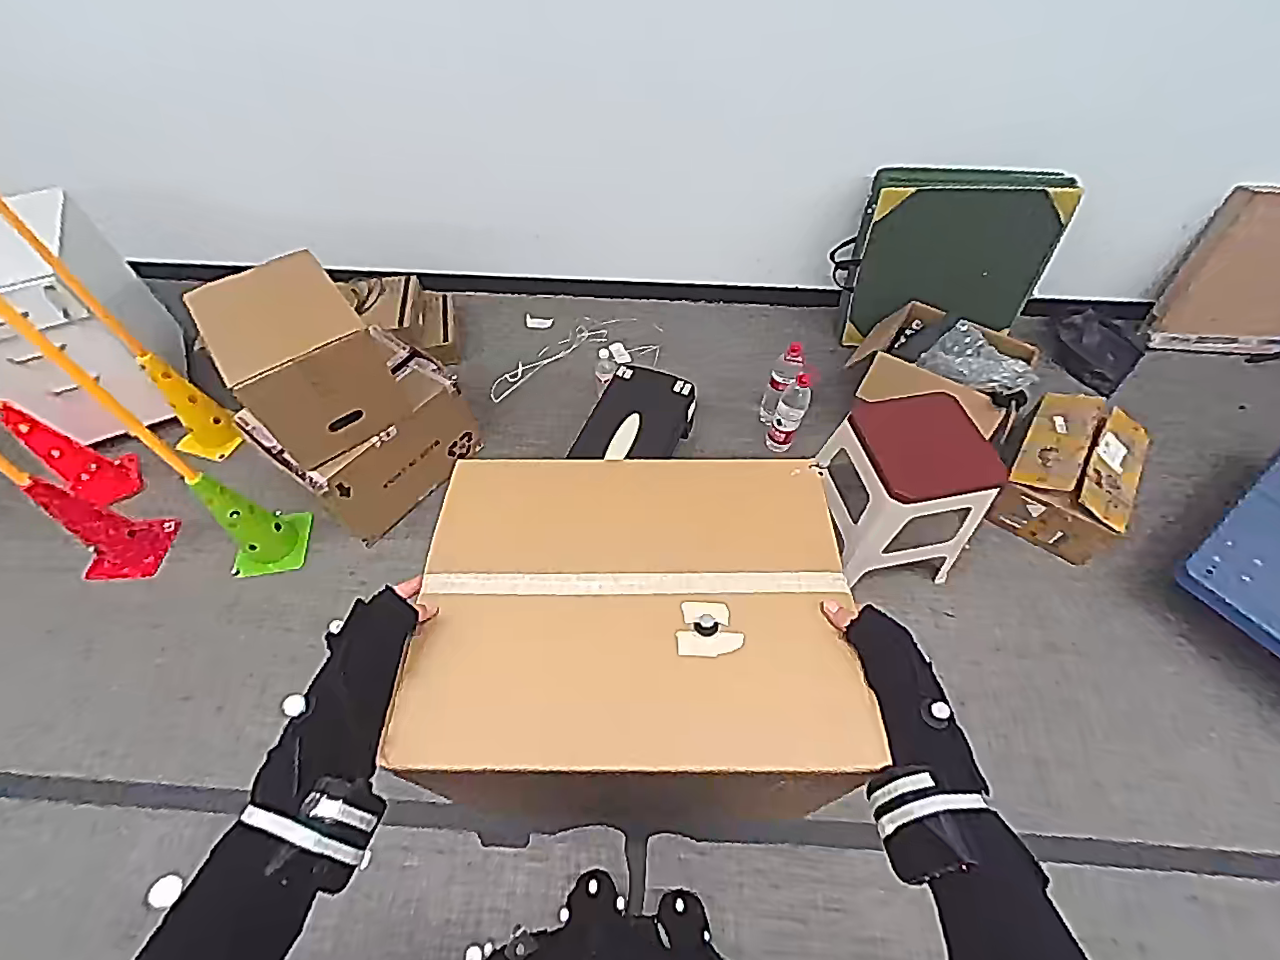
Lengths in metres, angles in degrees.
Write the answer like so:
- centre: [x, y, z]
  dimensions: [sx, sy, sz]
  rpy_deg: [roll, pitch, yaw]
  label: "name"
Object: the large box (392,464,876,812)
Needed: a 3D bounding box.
- centre: [-0.005, 0.194, 0.644]
  dimensions: [0.408, 0.320, 0.320]
  rpy_deg: [1, 52, 1]
  label: "large box"
